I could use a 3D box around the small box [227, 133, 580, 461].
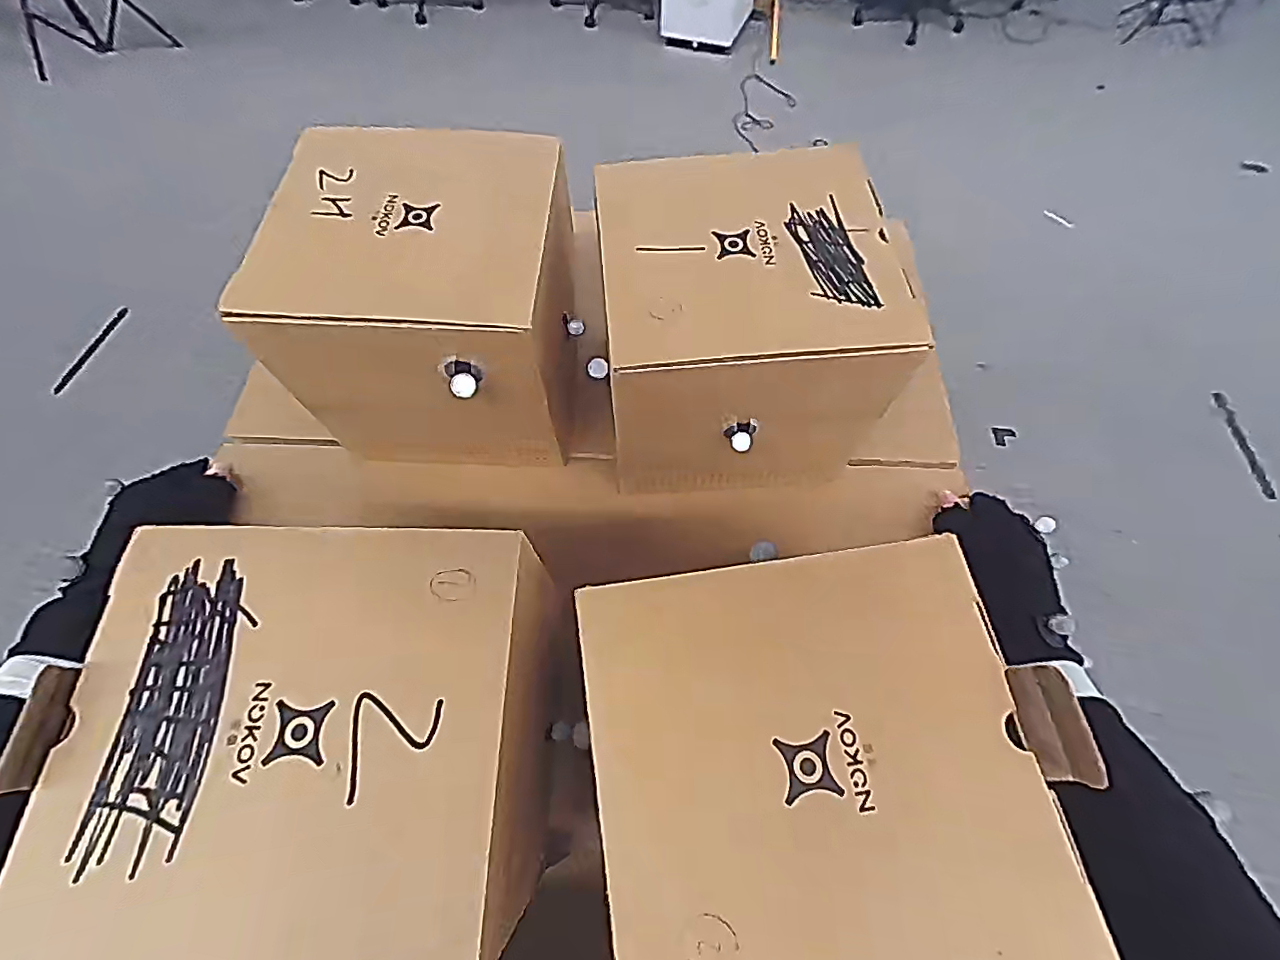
[{"bbox_3d":[-0.144,-0.125,0.411,0.179,0.176,0.168,4,64,2],"label":"small box"}]

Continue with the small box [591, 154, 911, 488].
[{"bbox_3d":[0.059,-0.104,0.400,0.179,0.176,0.168,-5,65,-1],"label":"small box"}]
